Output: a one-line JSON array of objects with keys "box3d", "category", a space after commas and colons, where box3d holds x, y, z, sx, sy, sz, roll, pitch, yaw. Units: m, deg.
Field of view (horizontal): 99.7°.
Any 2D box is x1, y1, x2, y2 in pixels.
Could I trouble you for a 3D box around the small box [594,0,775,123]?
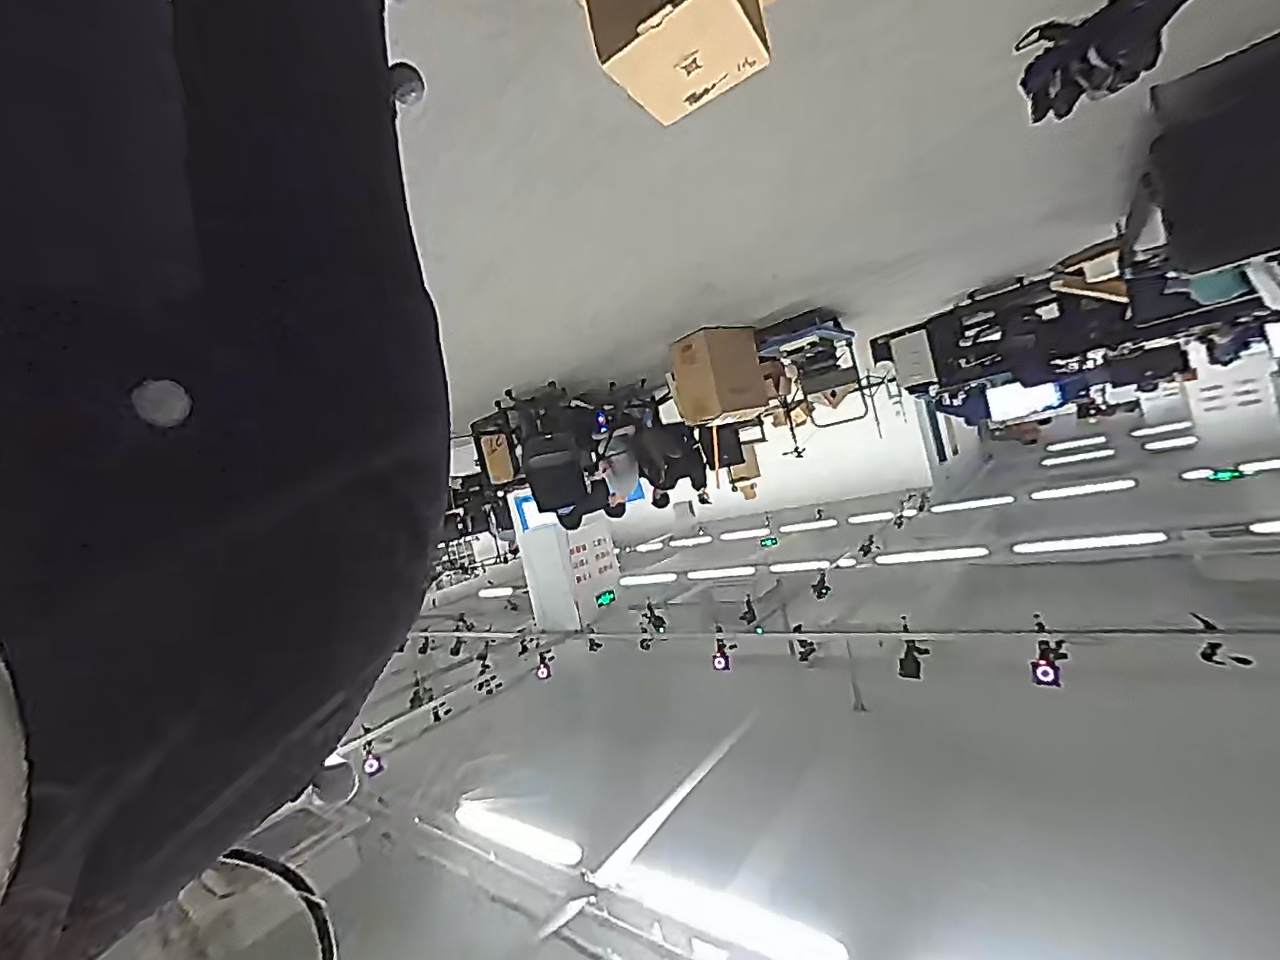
[{"box3d": [0.048, -0.603, 0.671, 0.168, 0.176, 0.179, -12, 180, 32], "category": "small box"}]
